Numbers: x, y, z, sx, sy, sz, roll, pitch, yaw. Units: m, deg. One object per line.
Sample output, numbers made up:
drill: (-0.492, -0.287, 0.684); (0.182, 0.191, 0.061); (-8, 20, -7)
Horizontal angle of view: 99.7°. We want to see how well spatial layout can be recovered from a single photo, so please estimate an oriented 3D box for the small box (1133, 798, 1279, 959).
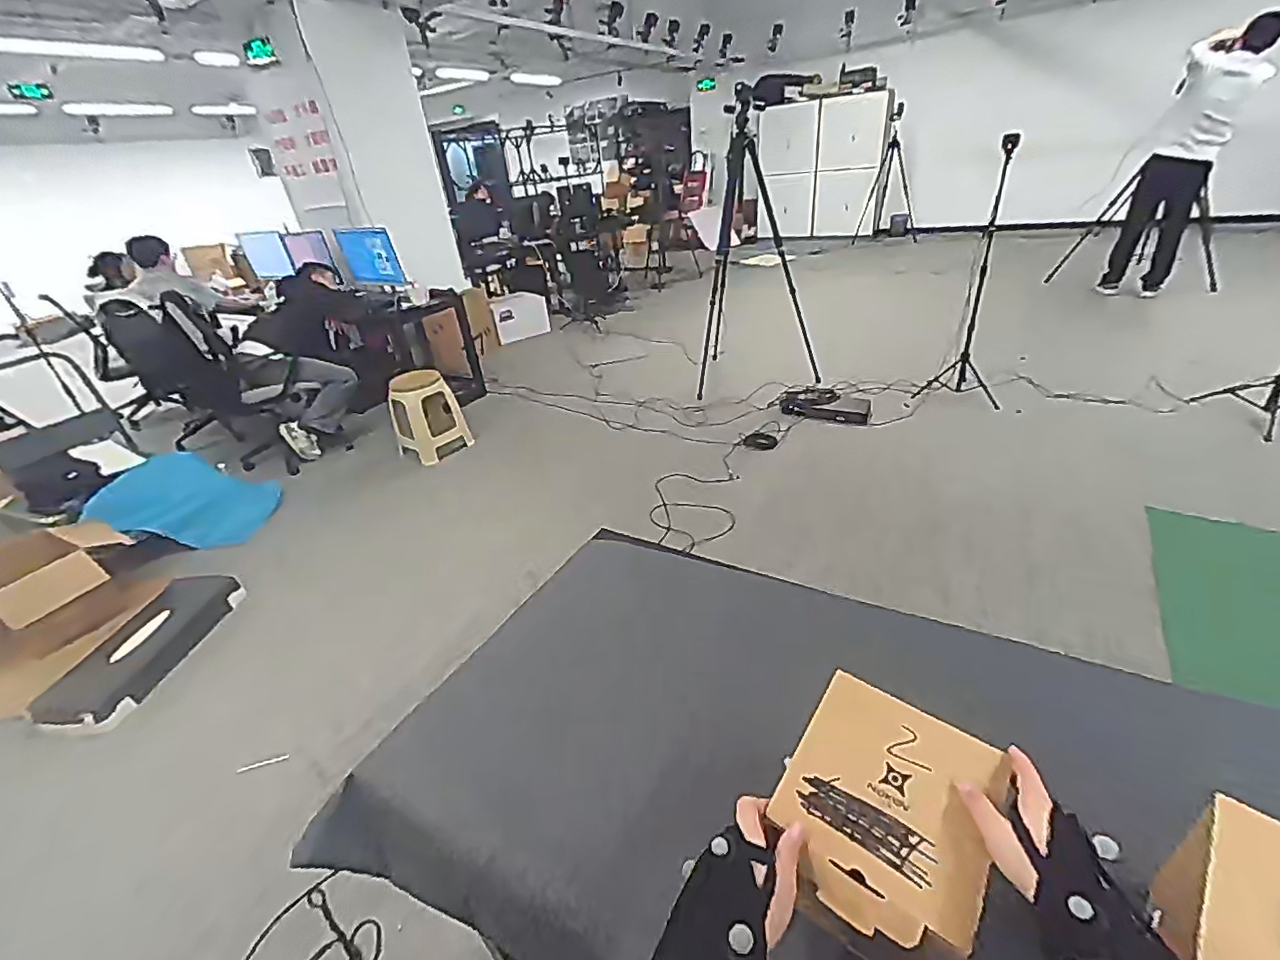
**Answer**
small box: (0.511, 0.400, 0.405); (0.168, 0.176, 0.179); (-30, 36, -35)
